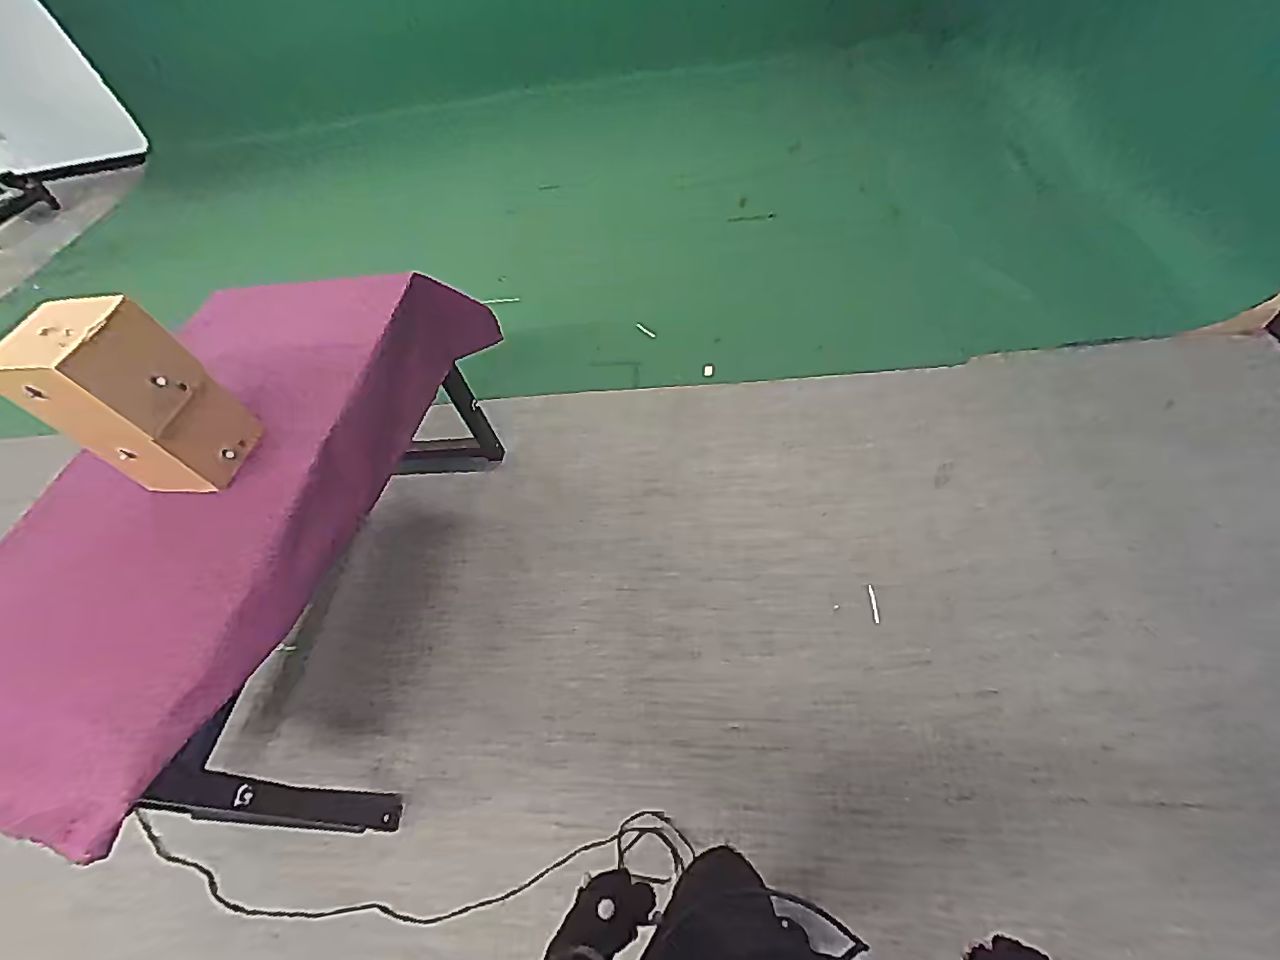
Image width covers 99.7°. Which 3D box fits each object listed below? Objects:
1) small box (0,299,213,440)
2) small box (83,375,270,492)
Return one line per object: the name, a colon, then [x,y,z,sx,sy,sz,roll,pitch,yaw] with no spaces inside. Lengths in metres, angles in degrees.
small box: [-0.892,-0.179,0.911,0.179,0.176,0.168,0,56,11]
small box: [-0.881,-0.088,1.048,0.179,0.176,0.168,2,55,12]
